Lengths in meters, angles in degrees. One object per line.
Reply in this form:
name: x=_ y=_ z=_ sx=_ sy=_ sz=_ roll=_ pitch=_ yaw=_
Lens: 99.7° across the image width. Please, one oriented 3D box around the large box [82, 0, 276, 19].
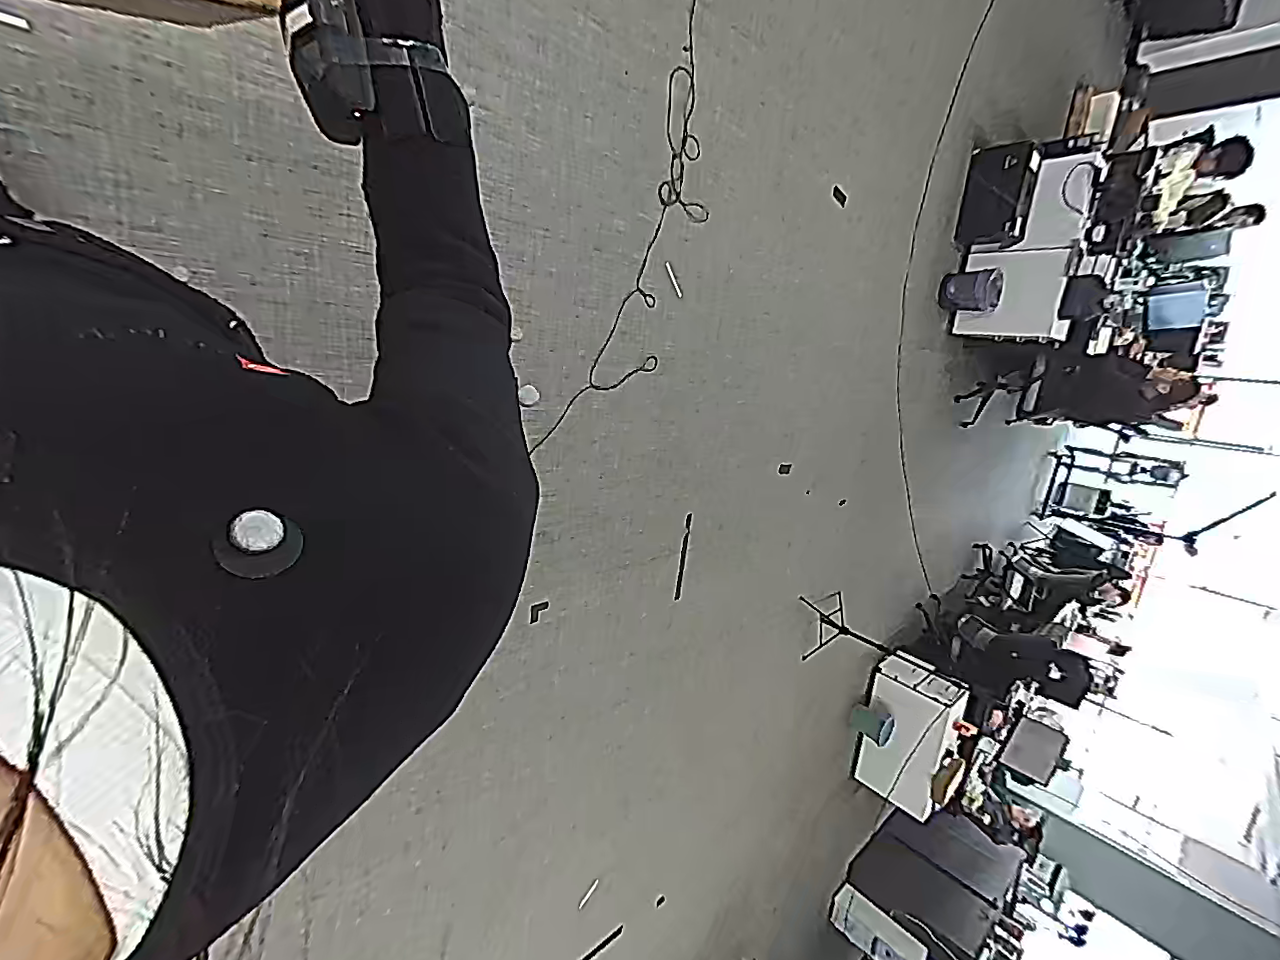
large box: x=-0.448 y=-0.430 z=0.220 sx=0.408 sy=0.320 sz=0.320 roll=-21 pitch=133 yaw=-37
